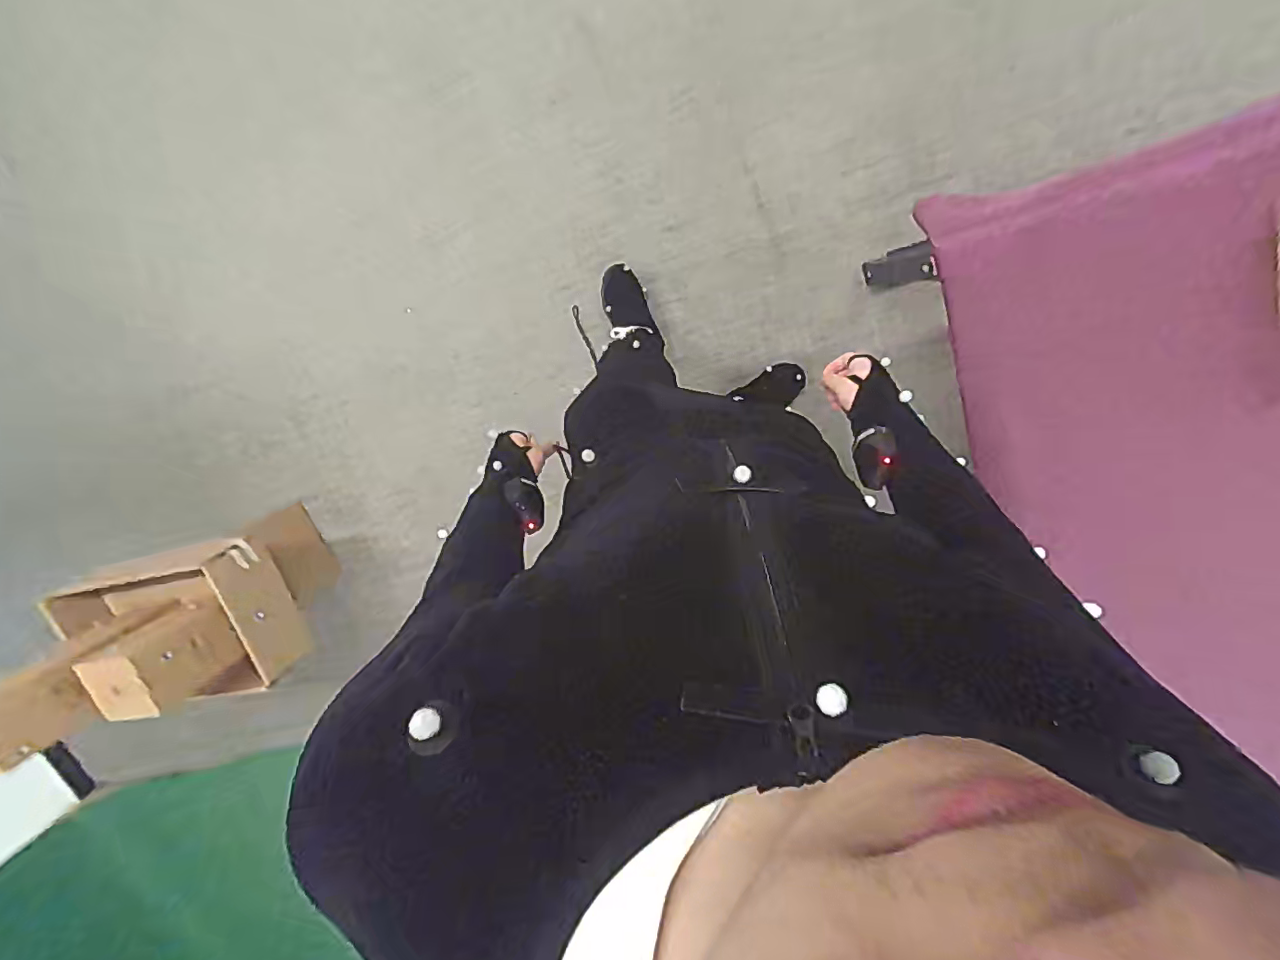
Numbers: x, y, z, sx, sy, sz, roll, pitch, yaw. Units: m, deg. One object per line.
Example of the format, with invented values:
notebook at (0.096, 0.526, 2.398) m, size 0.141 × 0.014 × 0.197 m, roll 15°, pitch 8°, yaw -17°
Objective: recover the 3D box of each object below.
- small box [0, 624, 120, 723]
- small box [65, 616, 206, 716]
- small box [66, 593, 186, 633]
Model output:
small box at (-1.474, 0.497, 1.402) m, size 0.179 × 0.176 × 0.168 m, roll -12°, pitch 106°, yaw 11°
small box at (-1.236, 0.455, 1.344) m, size 0.179 × 0.176 × 0.168 m, roll -10°, pitch 106°, yaw 13°
small box at (-1.455, 0.445, 1.555) m, size 0.179 × 0.176 × 0.168 m, roll -12°, pitch 107°, yaw 11°
